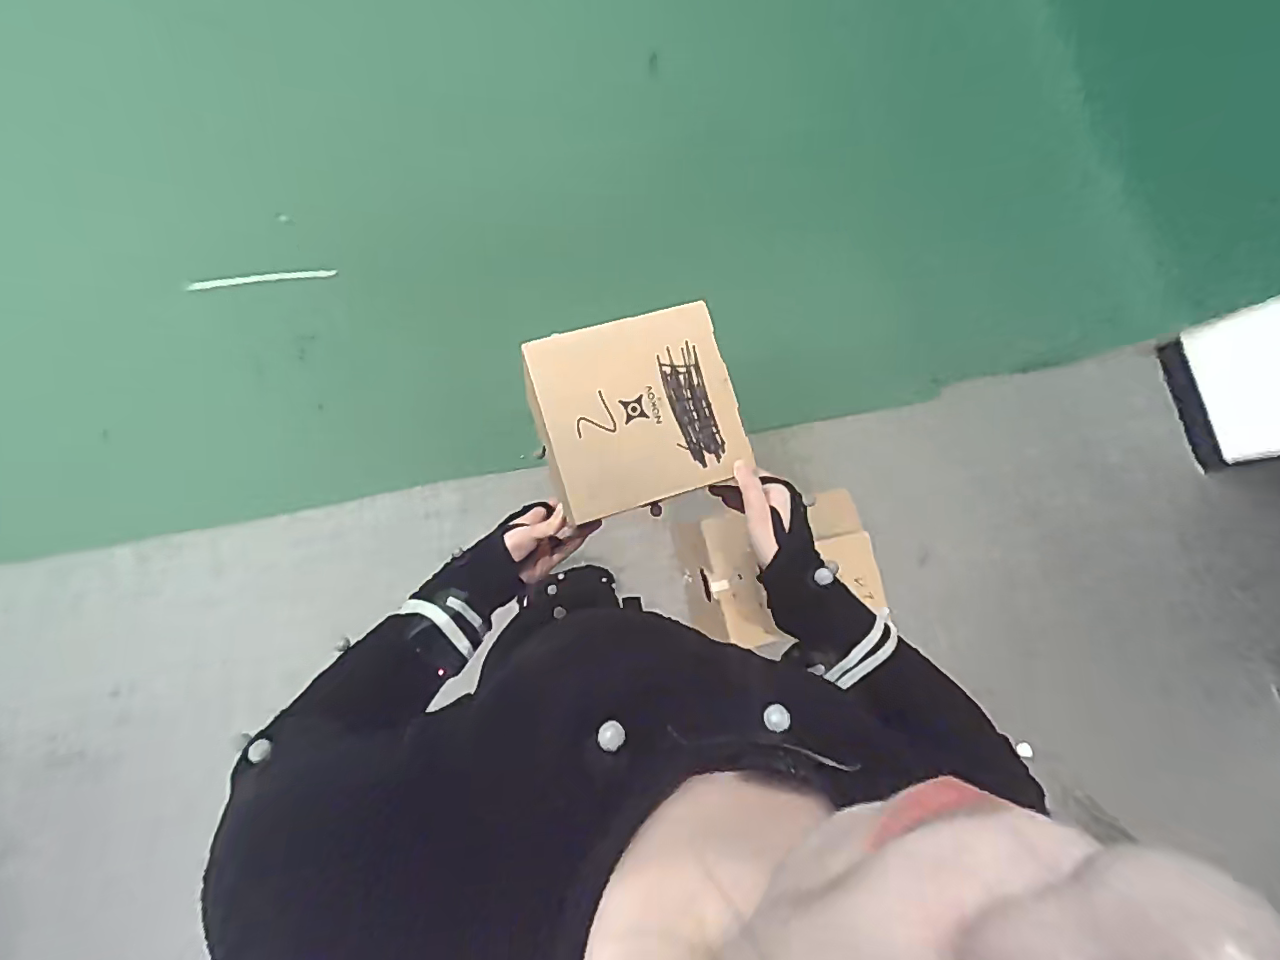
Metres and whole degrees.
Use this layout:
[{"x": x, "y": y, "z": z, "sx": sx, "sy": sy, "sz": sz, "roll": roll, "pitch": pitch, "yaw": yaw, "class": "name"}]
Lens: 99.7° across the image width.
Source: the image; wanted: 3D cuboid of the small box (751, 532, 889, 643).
[{"x": 0.323, "y": 0.197, "z": 1.013, "sx": 0.179, "sy": 0.176, "sz": 0.168, "roll": -9, "pitch": 83, "yaw": -12, "class": "small box"}]

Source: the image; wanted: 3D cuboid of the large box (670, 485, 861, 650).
[{"x": 0.333, "y": 0.227, "z": 1.430, "sx": 0.408, "sy": 0.320, "sz": 0.320, "roll": -11, "pitch": 83, "yaw": -12, "class": "large box"}]

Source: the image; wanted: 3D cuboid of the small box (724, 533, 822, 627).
[{"x": 0.294, "y": 0.215, "z": 1.174, "sx": 0.179, "sy": 0.176, "sz": 0.168, "roll": -9, "pitch": 83, "yaw": -12, "class": "small box"}]
